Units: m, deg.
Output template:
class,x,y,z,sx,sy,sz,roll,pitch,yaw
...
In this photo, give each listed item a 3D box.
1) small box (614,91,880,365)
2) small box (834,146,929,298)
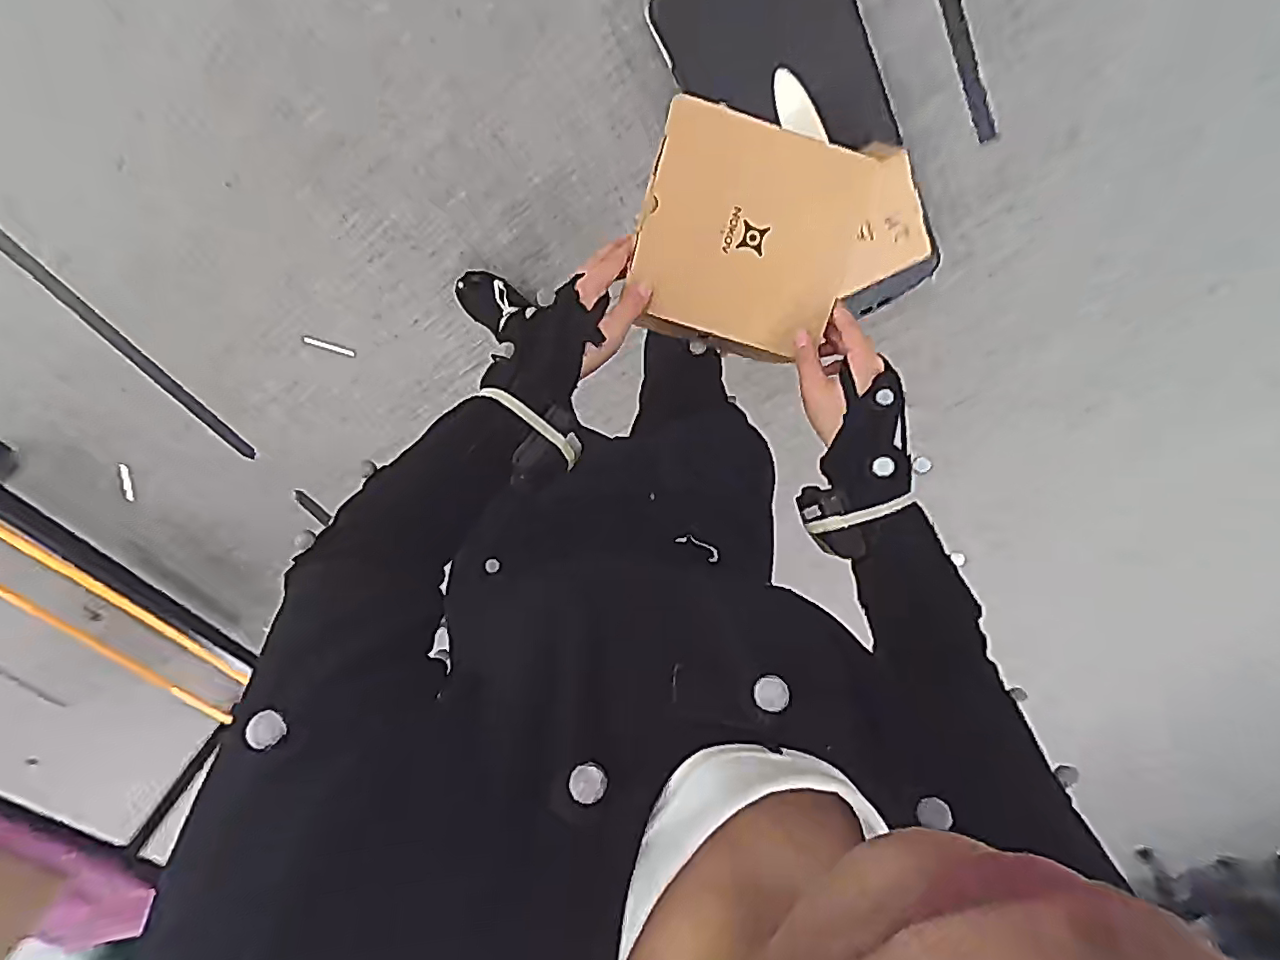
class,x,y,z,sx,sy,sz,roll,pitch,yaw
small box,0.082,-0.215,0.509,0.179,0.176,0.168,16,102,-4
small box,0.353,-0.434,0.914,0.179,0.176,0.168,-22,120,18
